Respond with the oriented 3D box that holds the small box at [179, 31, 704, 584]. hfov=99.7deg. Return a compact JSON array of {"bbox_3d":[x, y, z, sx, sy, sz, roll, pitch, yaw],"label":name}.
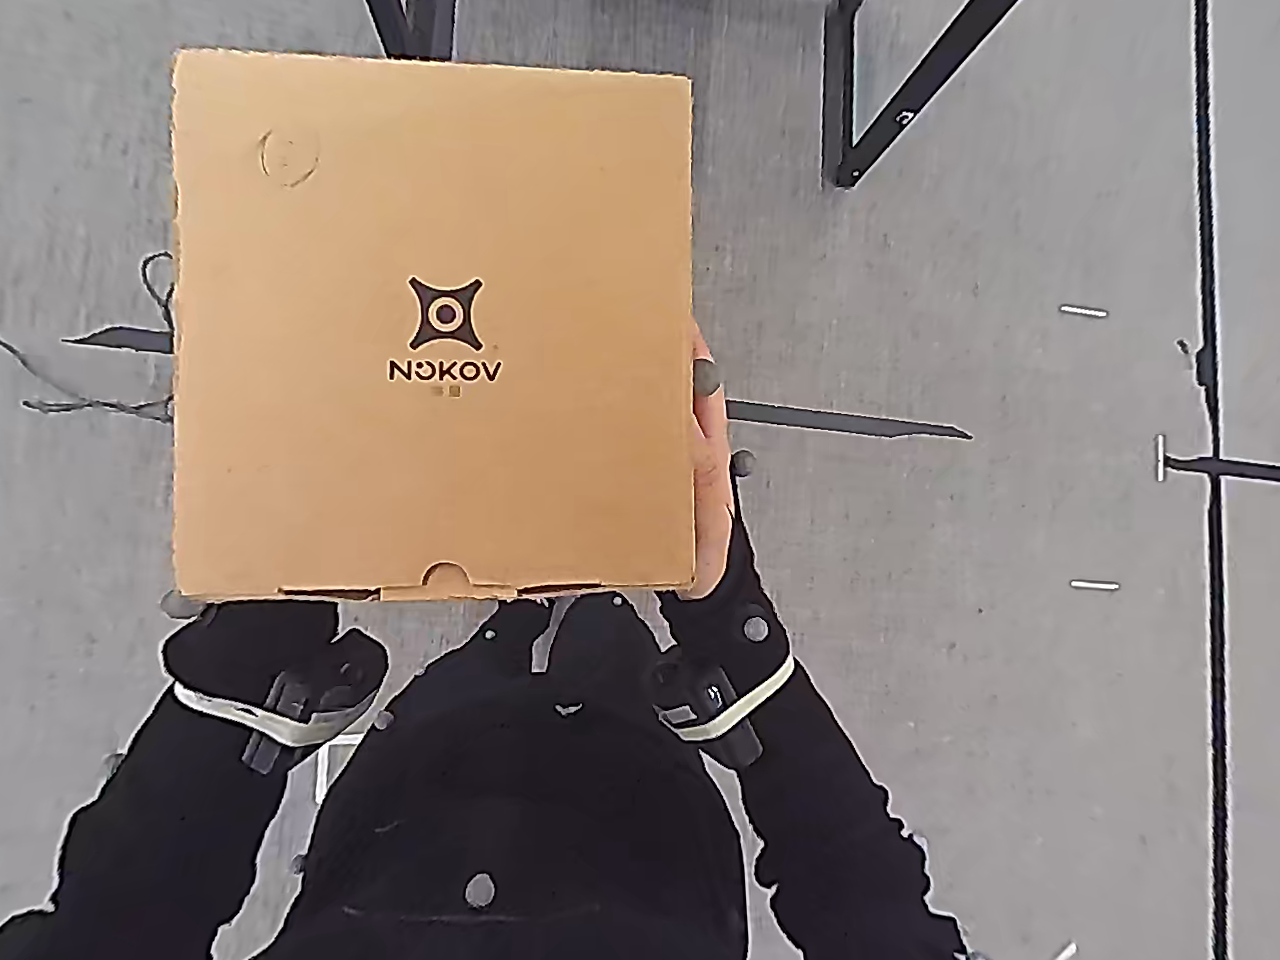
[{"bbox_3d":[-0.067,-0.053,0.255,0.168,0.176,0.179,-1,90,-5],"label":"small box"}]
